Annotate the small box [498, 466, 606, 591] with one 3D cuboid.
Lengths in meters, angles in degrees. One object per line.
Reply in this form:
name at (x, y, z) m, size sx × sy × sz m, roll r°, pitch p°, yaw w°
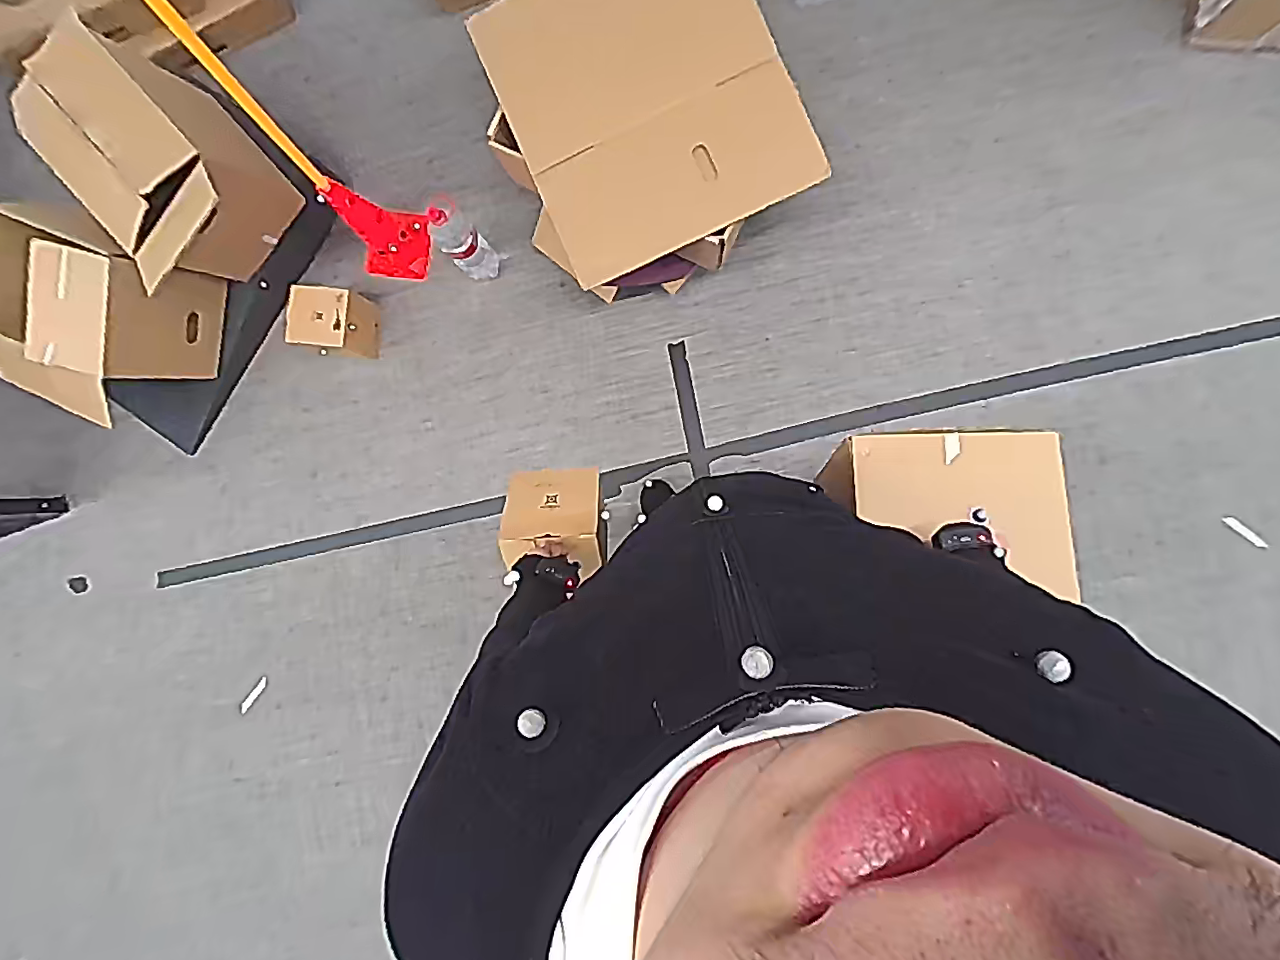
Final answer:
small box at (-0.152, 0.095, 1.009) m, size 0.168 × 0.179 × 0.176 m, roll -3°, pitch 132°, yaw 0°
